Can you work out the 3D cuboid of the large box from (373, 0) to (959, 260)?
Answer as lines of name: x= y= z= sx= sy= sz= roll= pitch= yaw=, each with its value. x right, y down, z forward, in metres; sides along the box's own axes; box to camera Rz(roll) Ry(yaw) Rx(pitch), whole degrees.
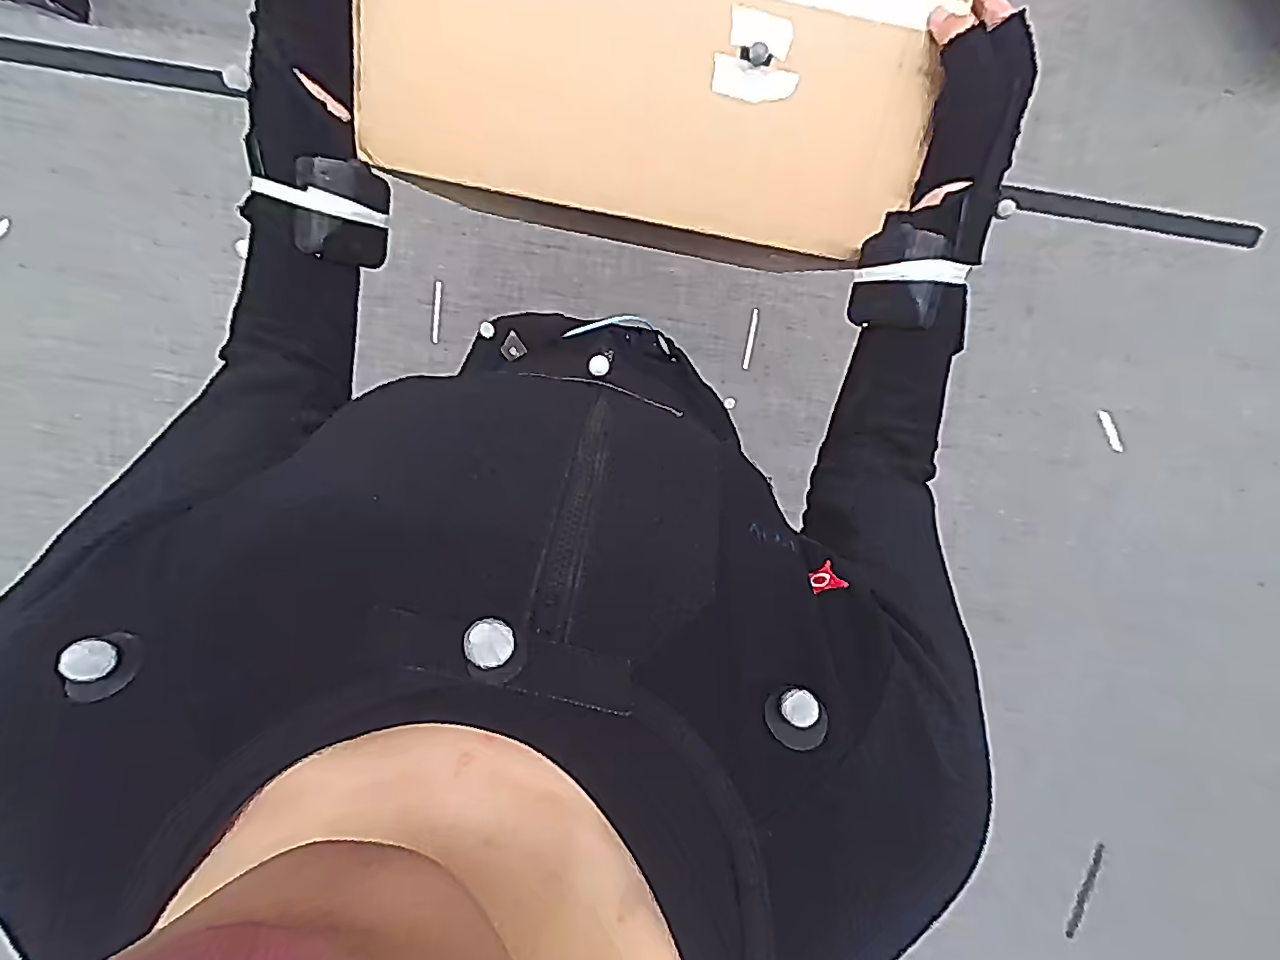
large box: x=0.017 y=-0.403 z=0.501 sx=0.408 sy=0.320 sz=0.320 roll=8 pitch=111 yaw=-6
